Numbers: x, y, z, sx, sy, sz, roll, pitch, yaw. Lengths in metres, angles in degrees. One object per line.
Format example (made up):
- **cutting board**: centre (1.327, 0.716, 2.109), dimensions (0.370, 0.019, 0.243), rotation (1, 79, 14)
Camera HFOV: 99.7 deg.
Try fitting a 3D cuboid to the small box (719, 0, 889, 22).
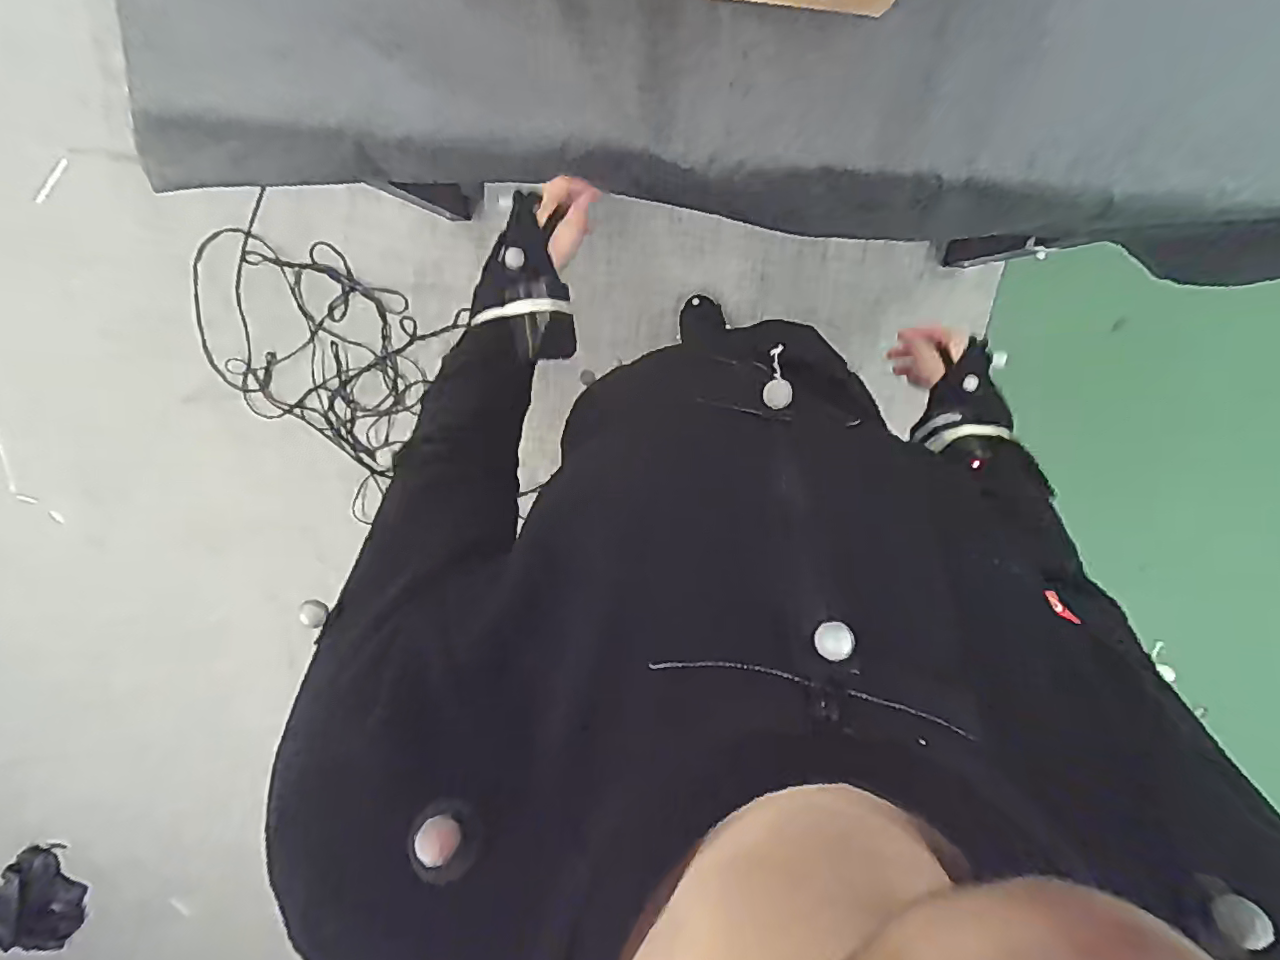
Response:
- **small box**: centre (0.144, -0.488, 0.392), dimensions (0.168, 0.176, 0.179), rotation (8, 107, 1)
